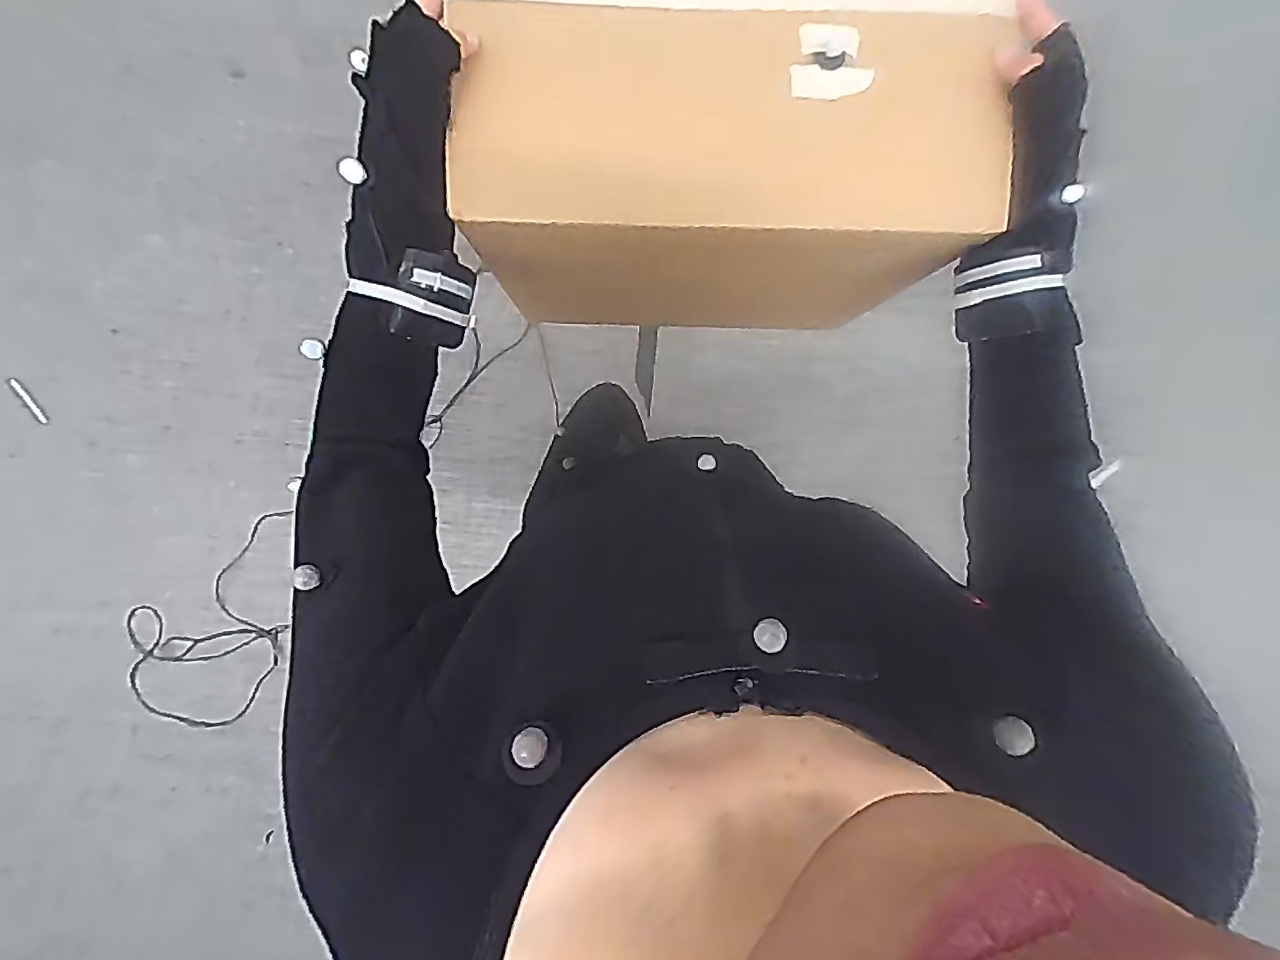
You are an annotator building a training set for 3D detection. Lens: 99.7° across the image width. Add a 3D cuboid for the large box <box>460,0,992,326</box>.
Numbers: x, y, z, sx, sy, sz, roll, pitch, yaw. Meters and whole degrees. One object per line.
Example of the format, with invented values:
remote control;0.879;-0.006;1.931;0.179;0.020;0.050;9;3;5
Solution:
large box;0.059;-0.349;0.549;0.408;0.320;0.320;0;93;-2
